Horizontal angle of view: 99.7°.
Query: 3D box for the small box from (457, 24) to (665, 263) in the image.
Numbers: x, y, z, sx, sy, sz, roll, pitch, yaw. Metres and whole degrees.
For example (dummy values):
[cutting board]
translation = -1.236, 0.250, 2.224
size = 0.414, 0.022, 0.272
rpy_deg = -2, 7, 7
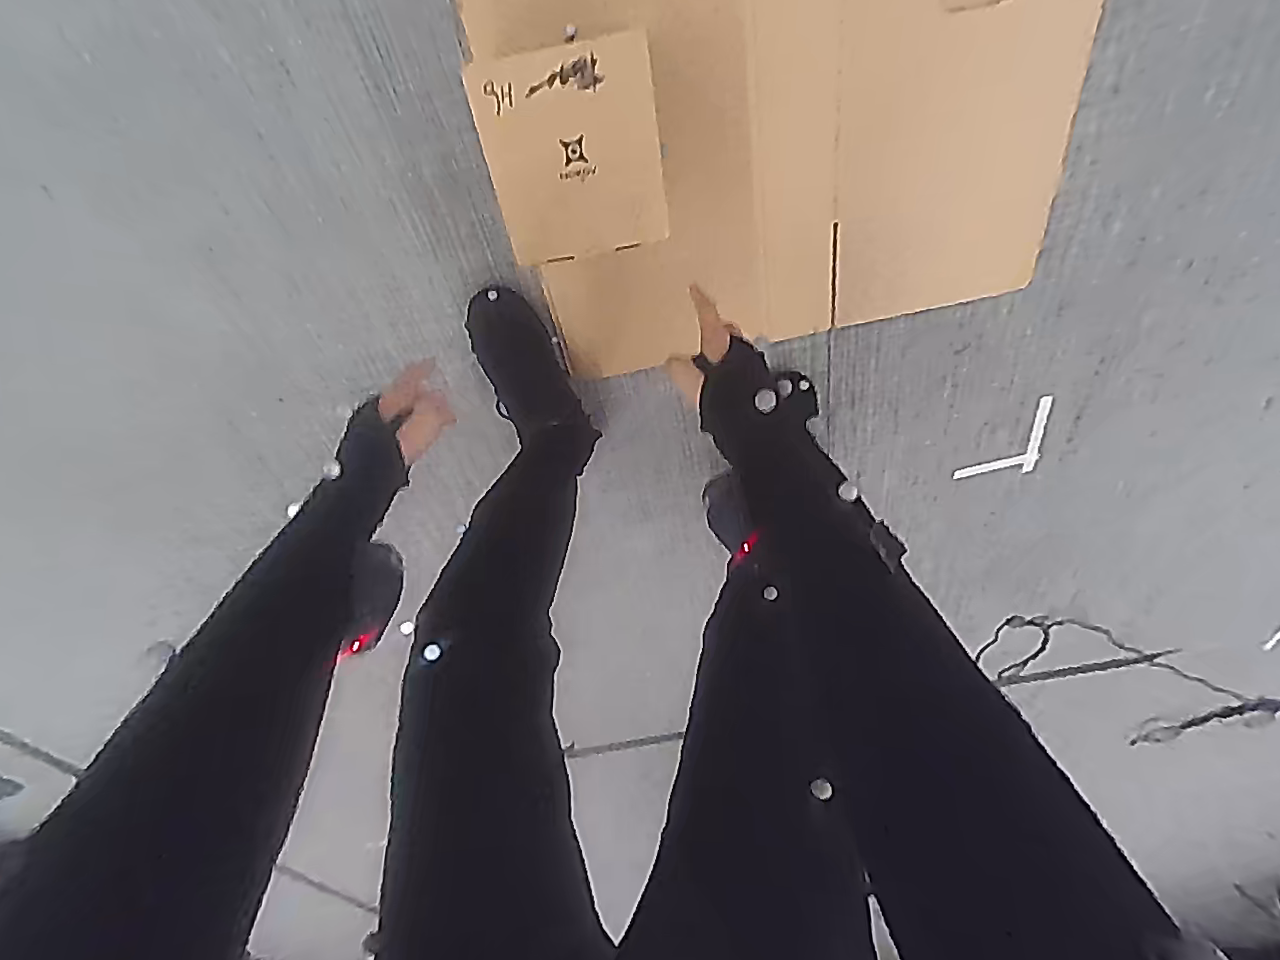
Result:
[small box]
translation = -0.069, -0.356, 0.571
size = 0.168, 0.176, 0.179
rpy_deg = -10, 130, 3
